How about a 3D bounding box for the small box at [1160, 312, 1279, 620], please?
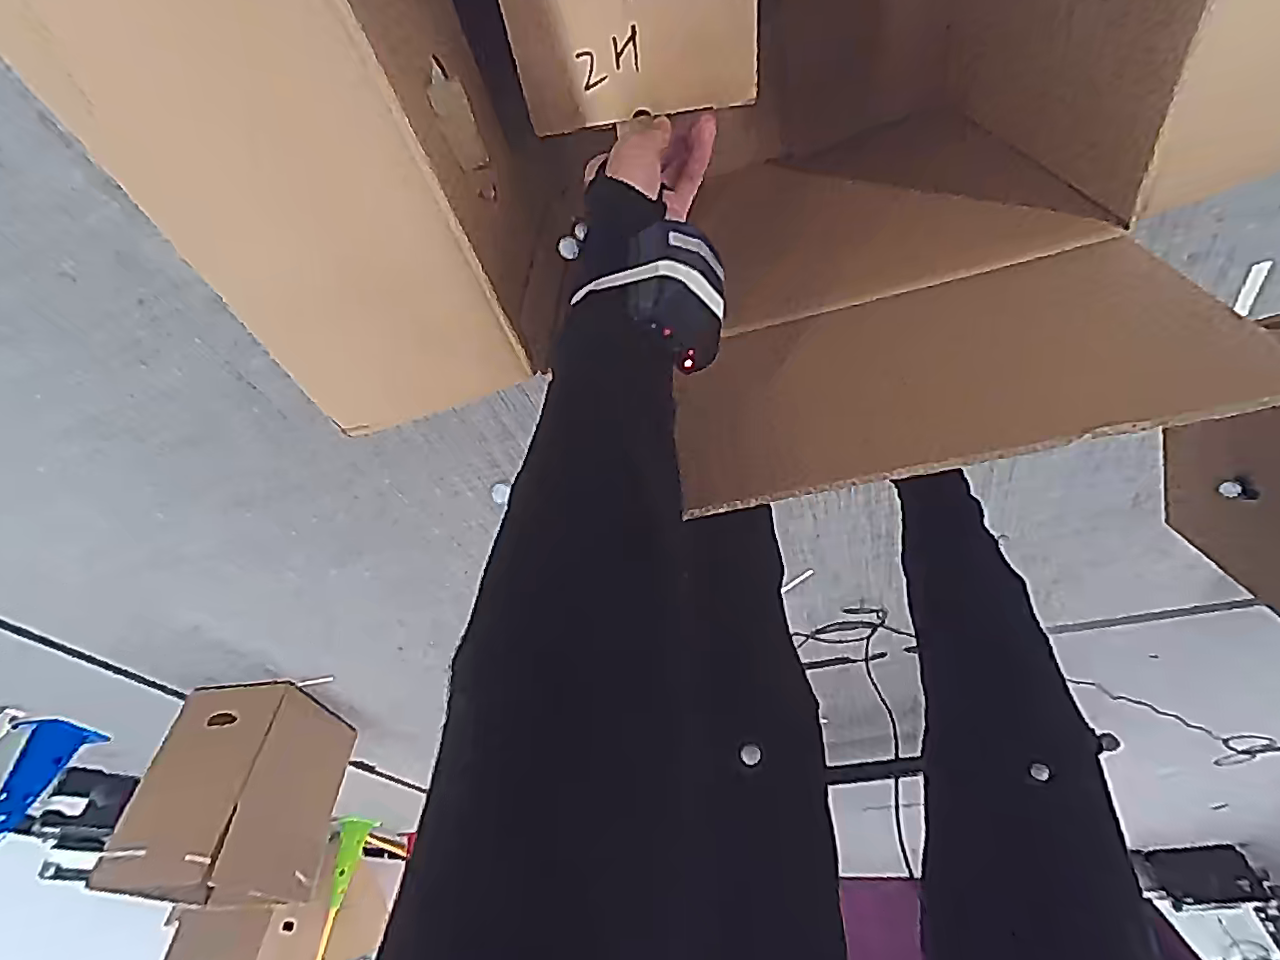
[{"bbox_3d":[0.499,-0.016,0.362,0.168,0.176,0.179,-17,113,19],"label":"small box"}]
